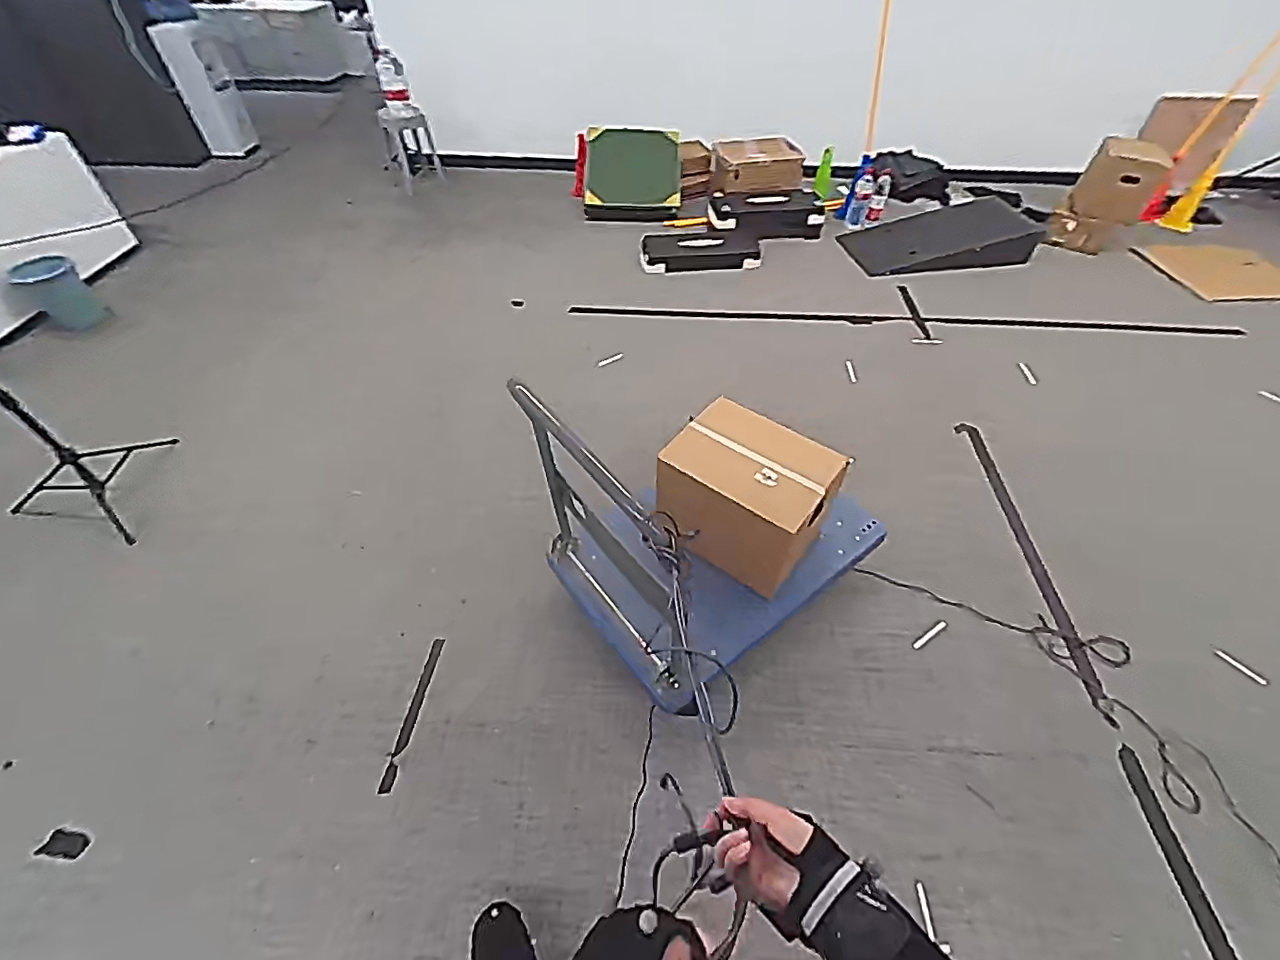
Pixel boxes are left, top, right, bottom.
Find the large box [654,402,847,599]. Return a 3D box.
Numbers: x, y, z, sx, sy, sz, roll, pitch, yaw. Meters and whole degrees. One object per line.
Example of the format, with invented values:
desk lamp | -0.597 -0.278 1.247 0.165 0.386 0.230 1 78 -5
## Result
large box | 0.288 0.051 1.511 0.408 0.320 0.320 31 56 24
